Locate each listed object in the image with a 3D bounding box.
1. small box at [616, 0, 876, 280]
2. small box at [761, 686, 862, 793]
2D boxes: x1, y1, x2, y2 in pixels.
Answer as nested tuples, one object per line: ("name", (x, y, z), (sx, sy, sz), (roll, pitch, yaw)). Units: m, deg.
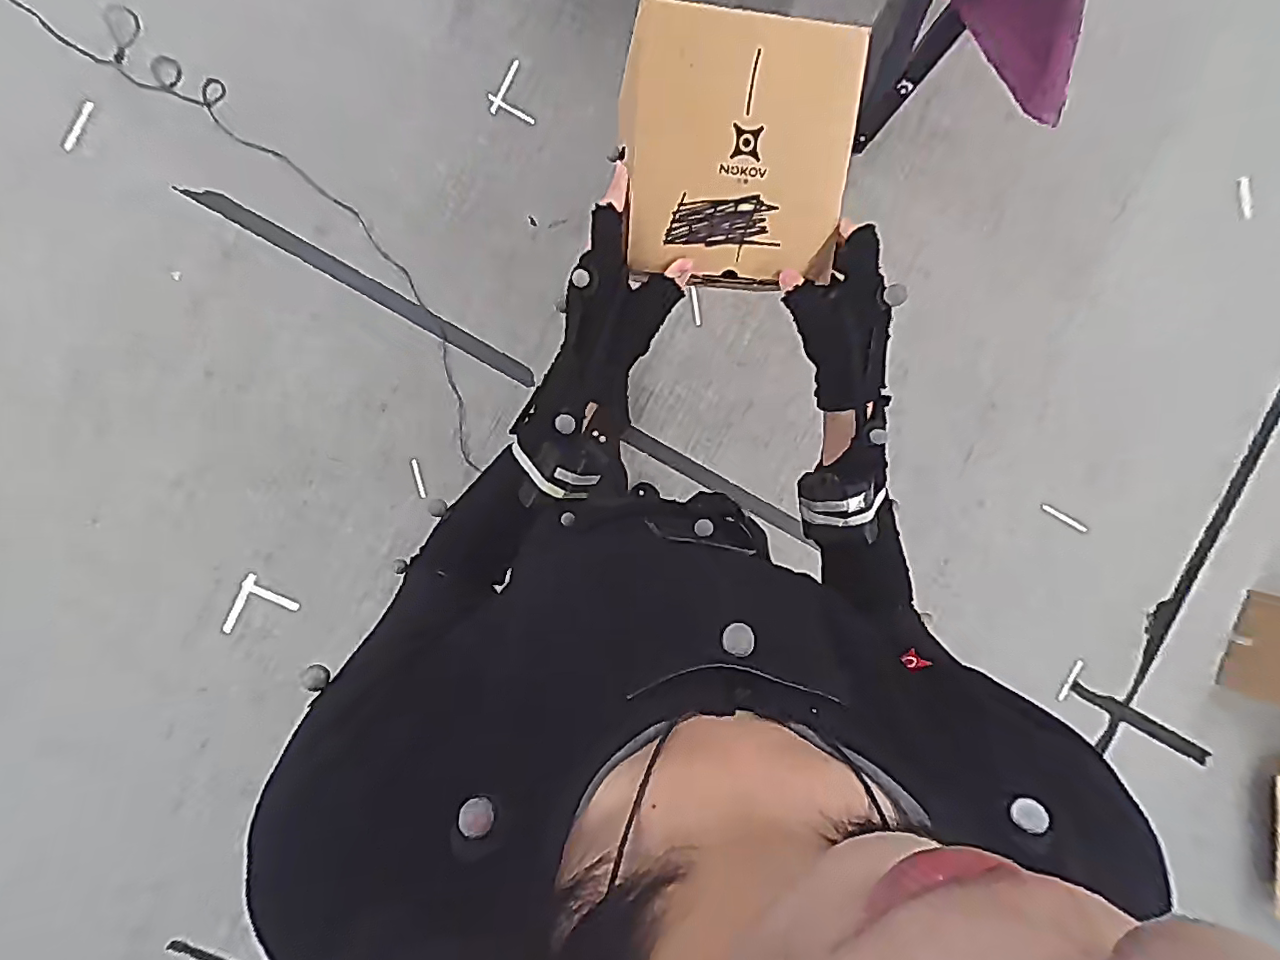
("small box", (0.069, -0.273, 0.468), (0.168, 0.176, 0.179), (2, 108, -8))
("small box", (0.467, 0.708, 1.498), (0.179, 0.176, 0.168), (44, 88, -4))
